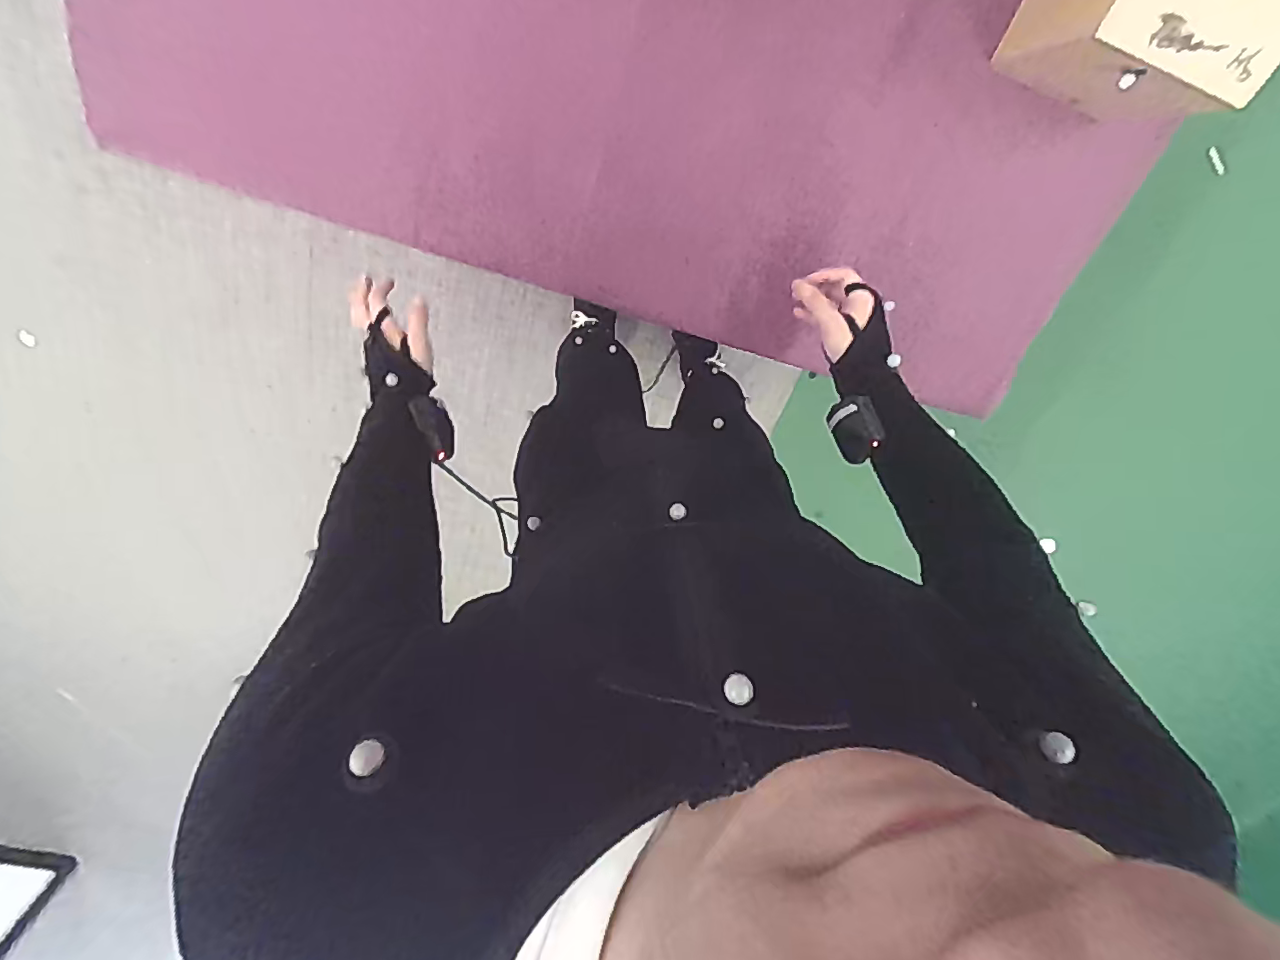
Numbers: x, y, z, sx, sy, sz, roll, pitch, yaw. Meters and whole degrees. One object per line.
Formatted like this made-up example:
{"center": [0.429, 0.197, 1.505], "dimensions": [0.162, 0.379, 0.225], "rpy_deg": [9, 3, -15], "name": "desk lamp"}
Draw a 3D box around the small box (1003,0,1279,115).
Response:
{"center": [0.485, -0.464, 0.490], "dimensions": [0.168, 0.176, 0.179], "rpy_deg": [17, 119, -8], "name": "small box"}
